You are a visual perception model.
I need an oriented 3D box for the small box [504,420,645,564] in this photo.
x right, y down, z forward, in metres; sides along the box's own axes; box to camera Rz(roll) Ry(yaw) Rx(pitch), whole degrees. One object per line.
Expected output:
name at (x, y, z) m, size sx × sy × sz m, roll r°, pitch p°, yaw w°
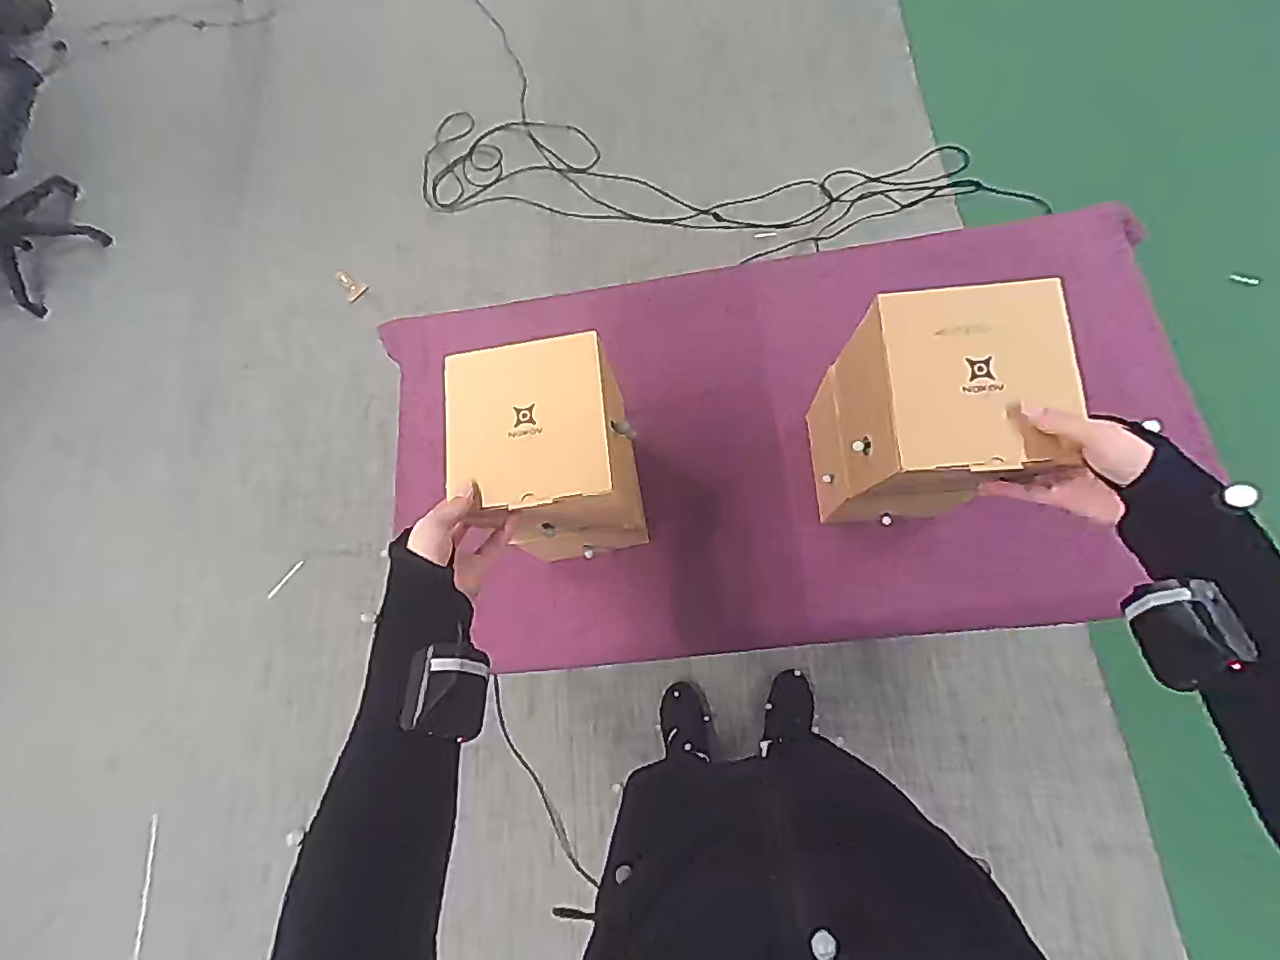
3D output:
small box at (-0.093, 0.012, 0.778) m, size 0.168 × 0.176 × 0.179 m, roll -11°, pitch 72°, yaw 5°

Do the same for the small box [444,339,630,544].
small box at (-0.110, -0.033, 0.622) m, size 0.168 × 0.176 × 0.179 m, roll -9°, pitch 74°, yaw 5°

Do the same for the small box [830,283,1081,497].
small box at (0.309, -0.079, 0.571) m, size 0.168 × 0.176 × 0.179 m, roll -3°, pitch 77°, yaw 6°
